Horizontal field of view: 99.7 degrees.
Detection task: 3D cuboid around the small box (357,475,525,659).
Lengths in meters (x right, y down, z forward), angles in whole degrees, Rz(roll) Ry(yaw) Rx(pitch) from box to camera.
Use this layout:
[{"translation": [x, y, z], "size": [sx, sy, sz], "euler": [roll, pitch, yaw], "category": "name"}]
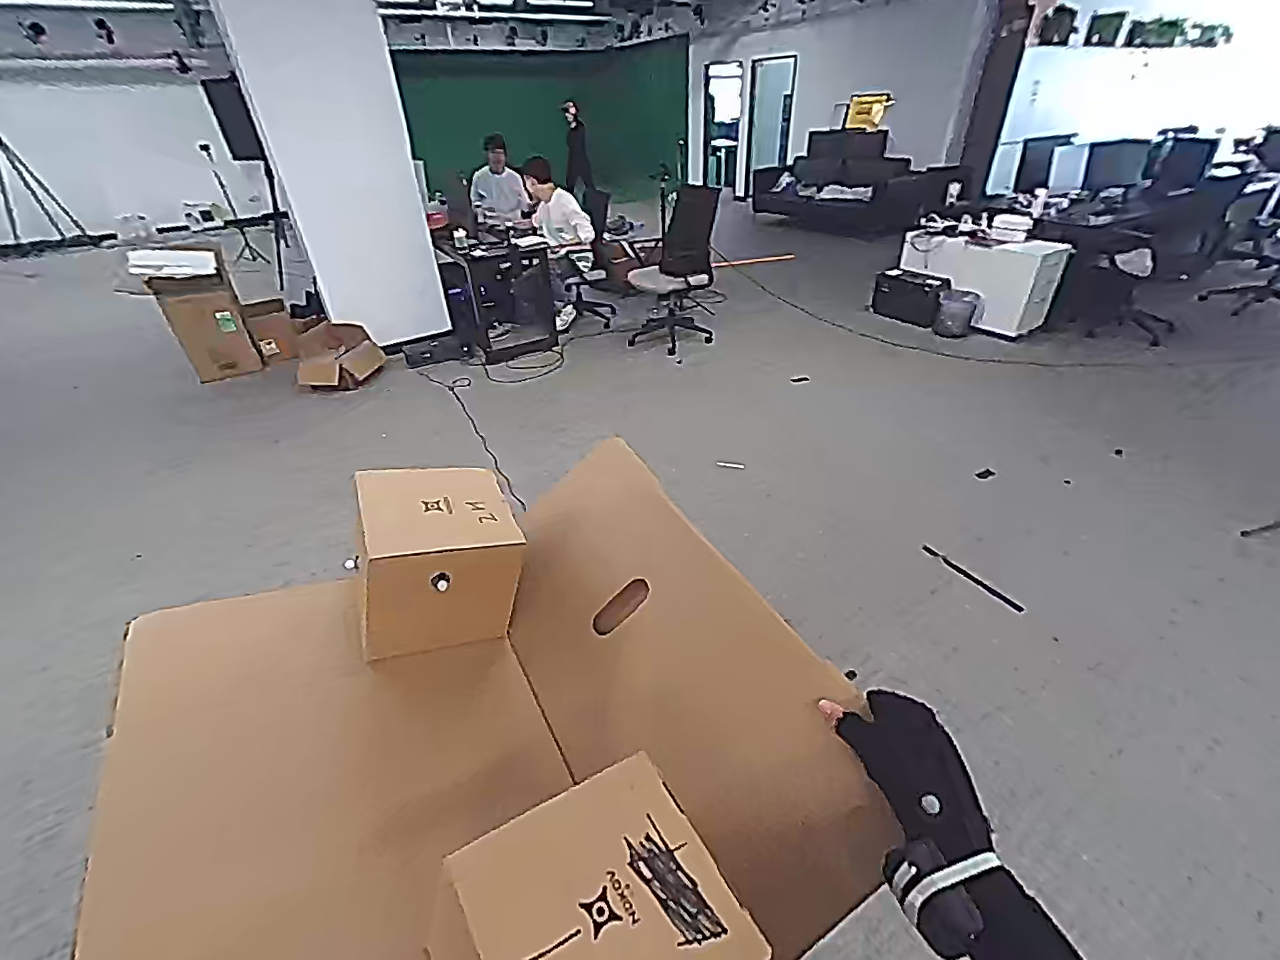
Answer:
[{"translation": [-0.268, 0.110, 0.709], "size": [0.179, 0.176, 0.168], "euler": [-1, 36, -31], "category": "small box"}]
